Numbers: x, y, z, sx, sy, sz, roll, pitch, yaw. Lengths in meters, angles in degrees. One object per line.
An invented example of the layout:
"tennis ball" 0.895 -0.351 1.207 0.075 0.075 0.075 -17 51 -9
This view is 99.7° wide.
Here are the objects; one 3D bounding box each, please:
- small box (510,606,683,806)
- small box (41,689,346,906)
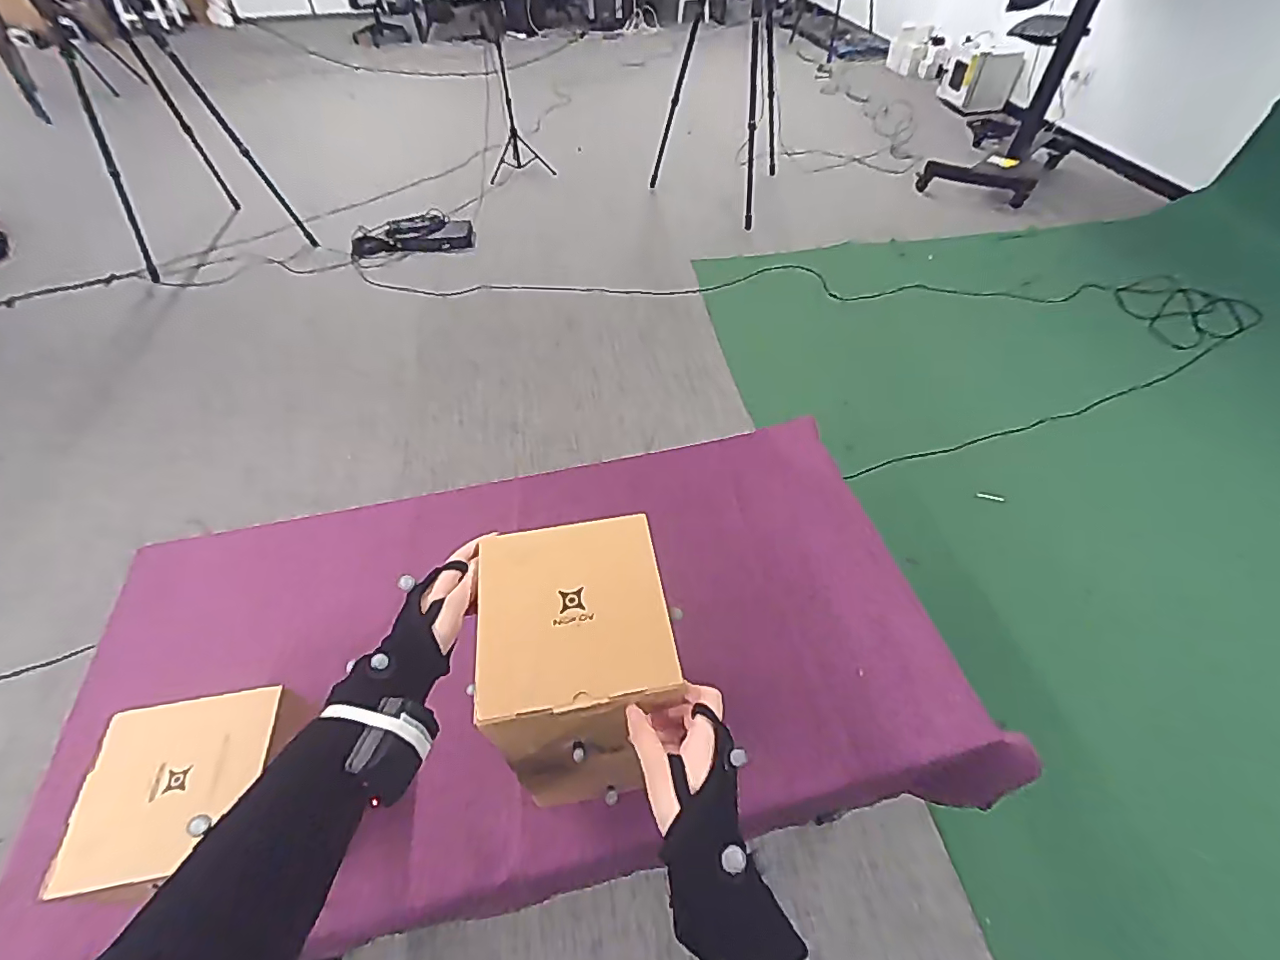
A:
"small box" -0.055 0.277 0.661 0.179 0.176 0.168 -9 50 -7
"small box" -0.465 0.356 0.603 0.179 0.176 0.168 -8 51 -6
